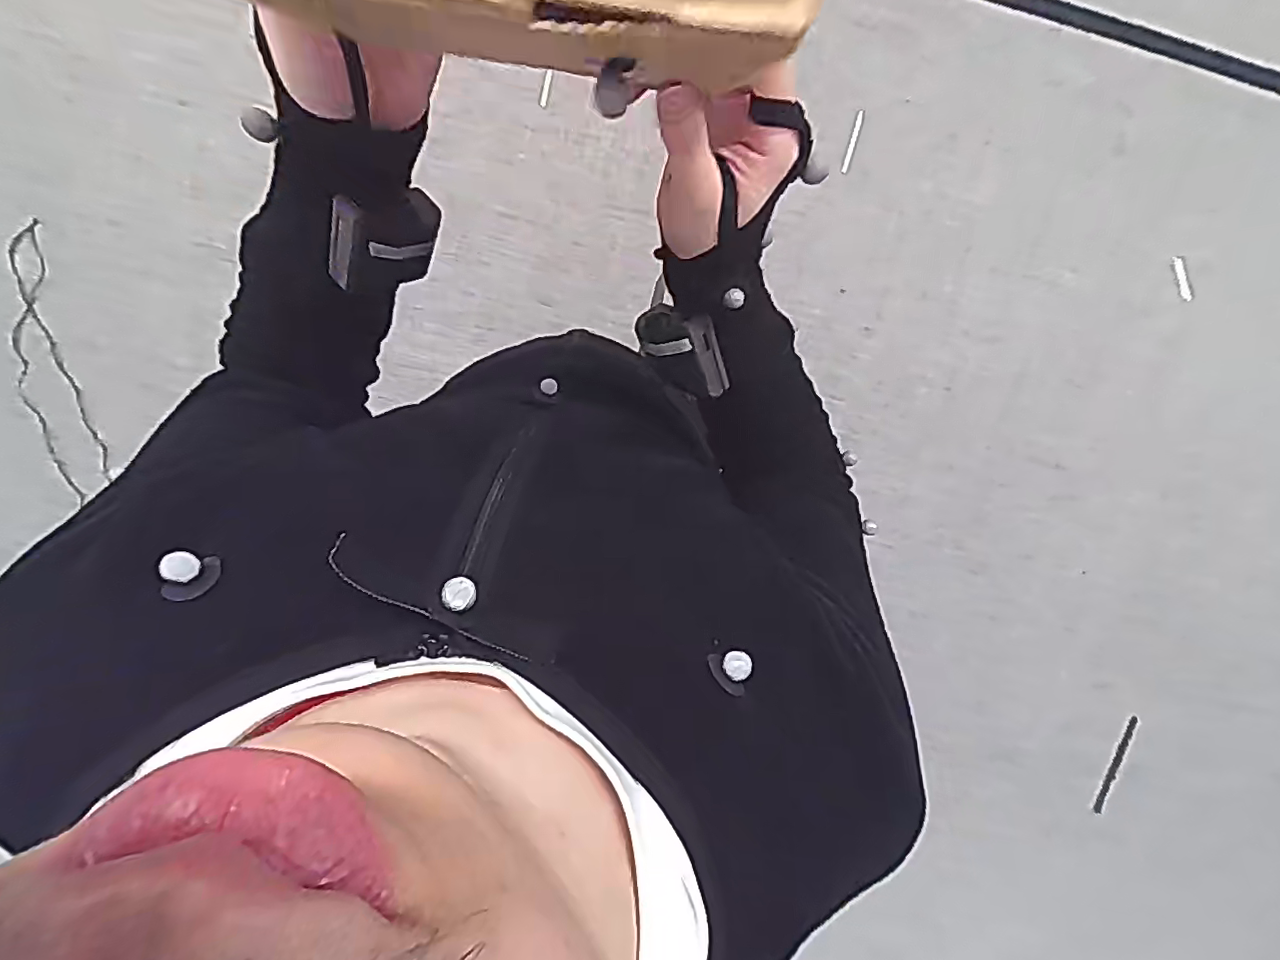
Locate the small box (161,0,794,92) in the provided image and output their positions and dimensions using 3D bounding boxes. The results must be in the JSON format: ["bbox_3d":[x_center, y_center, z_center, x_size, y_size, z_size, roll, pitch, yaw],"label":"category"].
[{"bbox_3d":[-0.037,-0.223,0.147,0.168,0.176,0.179,4,121,-2],"label":"small box"}]
